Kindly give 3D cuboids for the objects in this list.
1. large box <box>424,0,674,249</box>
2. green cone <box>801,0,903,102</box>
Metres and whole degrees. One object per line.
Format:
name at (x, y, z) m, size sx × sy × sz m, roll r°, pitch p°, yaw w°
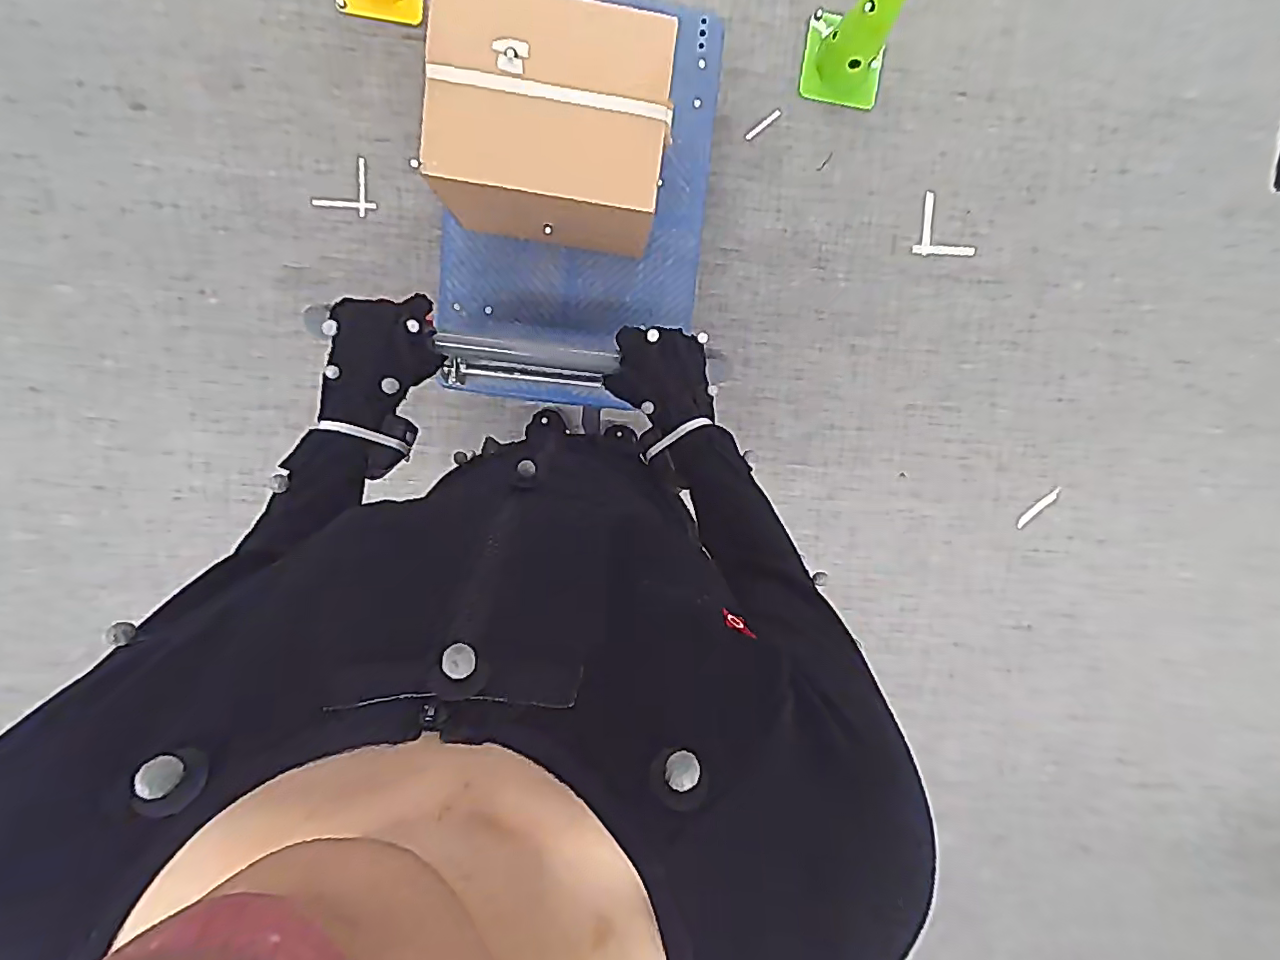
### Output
large box at (-0.161, -0.672, 1.061) m, size 0.408 × 0.320 × 0.320 m, roll 7°, pitch 98°, yaw -4°
green cone at (0.529, -1.052, 1.196) m, size 0.202 × 0.368 × 0.200 m, roll 7°, pitch 98°, yaw -6°
